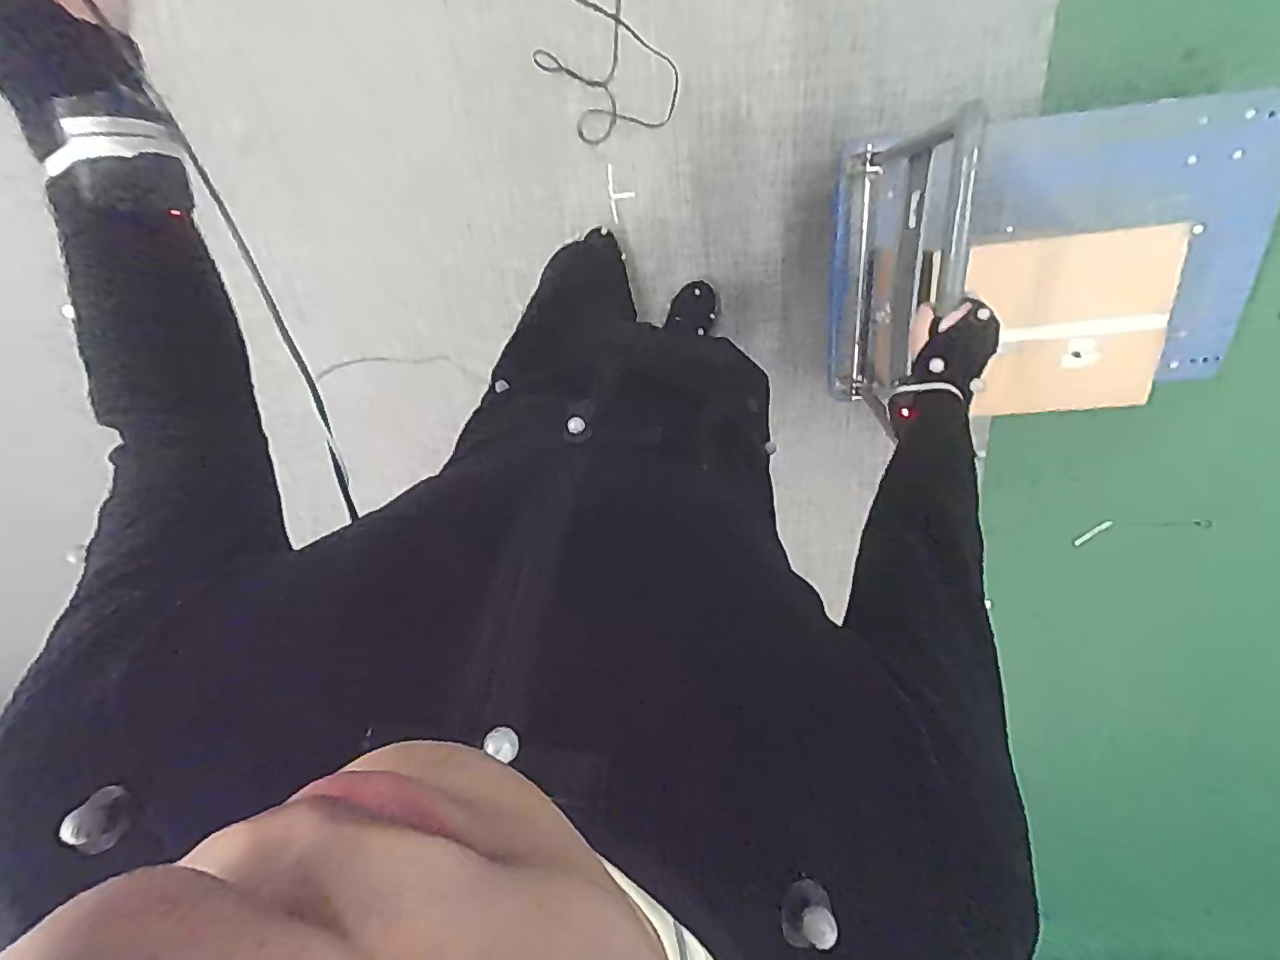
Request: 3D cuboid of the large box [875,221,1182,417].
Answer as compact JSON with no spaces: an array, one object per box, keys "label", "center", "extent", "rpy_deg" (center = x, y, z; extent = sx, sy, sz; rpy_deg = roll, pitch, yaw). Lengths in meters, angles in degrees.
[{"label":"large box","center":[0.743,-0.337,1.123],"extent":[0.408,0.320,0.320],"rpy_deg":[-4,114,8]}]
